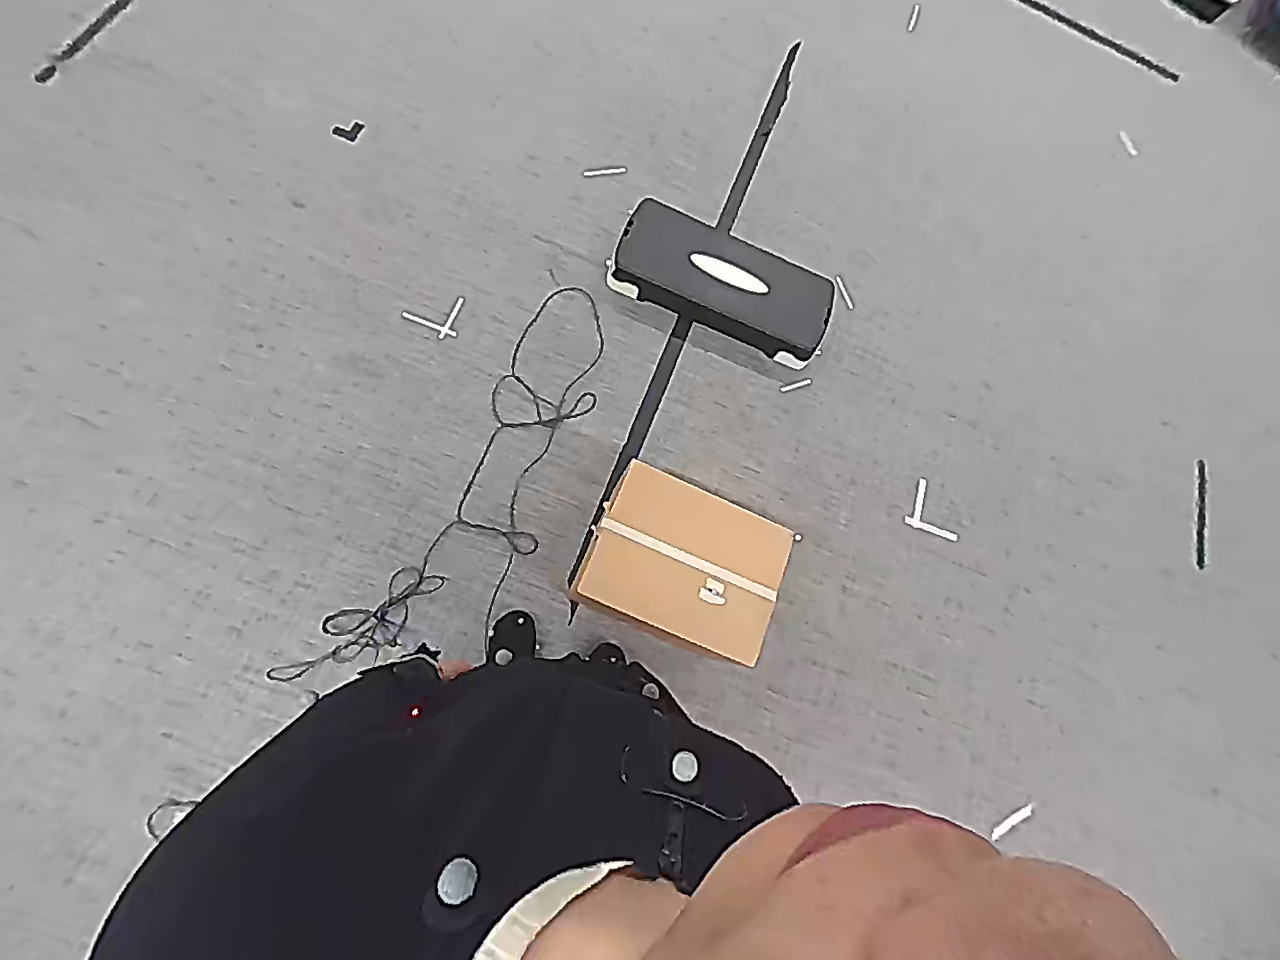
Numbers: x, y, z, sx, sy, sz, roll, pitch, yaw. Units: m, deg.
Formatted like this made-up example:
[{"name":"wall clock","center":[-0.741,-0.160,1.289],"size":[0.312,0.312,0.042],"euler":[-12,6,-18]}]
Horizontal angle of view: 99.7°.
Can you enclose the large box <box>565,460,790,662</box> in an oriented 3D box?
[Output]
[{"name":"large box","center":[0.070,0.201,1.282],"size":[0.408,0.320,0.320],"euler":[24,73,-5]}]
